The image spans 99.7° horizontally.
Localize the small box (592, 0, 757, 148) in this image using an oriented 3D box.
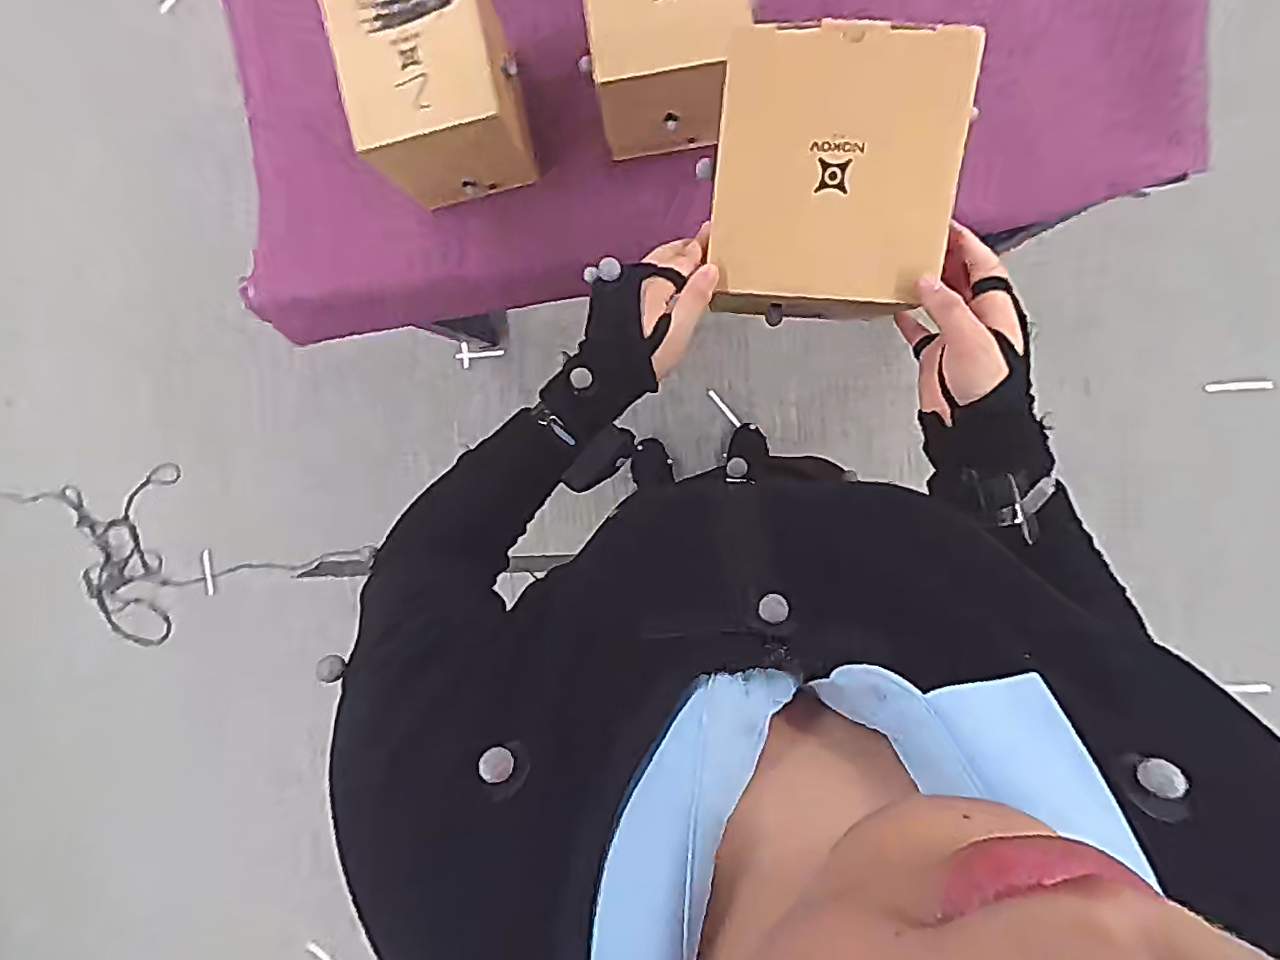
[{"bbox_3d":[0.037,-0.514,0.625,0.168,0.176,0.179,-6,95,4],"label":"small box"}]
